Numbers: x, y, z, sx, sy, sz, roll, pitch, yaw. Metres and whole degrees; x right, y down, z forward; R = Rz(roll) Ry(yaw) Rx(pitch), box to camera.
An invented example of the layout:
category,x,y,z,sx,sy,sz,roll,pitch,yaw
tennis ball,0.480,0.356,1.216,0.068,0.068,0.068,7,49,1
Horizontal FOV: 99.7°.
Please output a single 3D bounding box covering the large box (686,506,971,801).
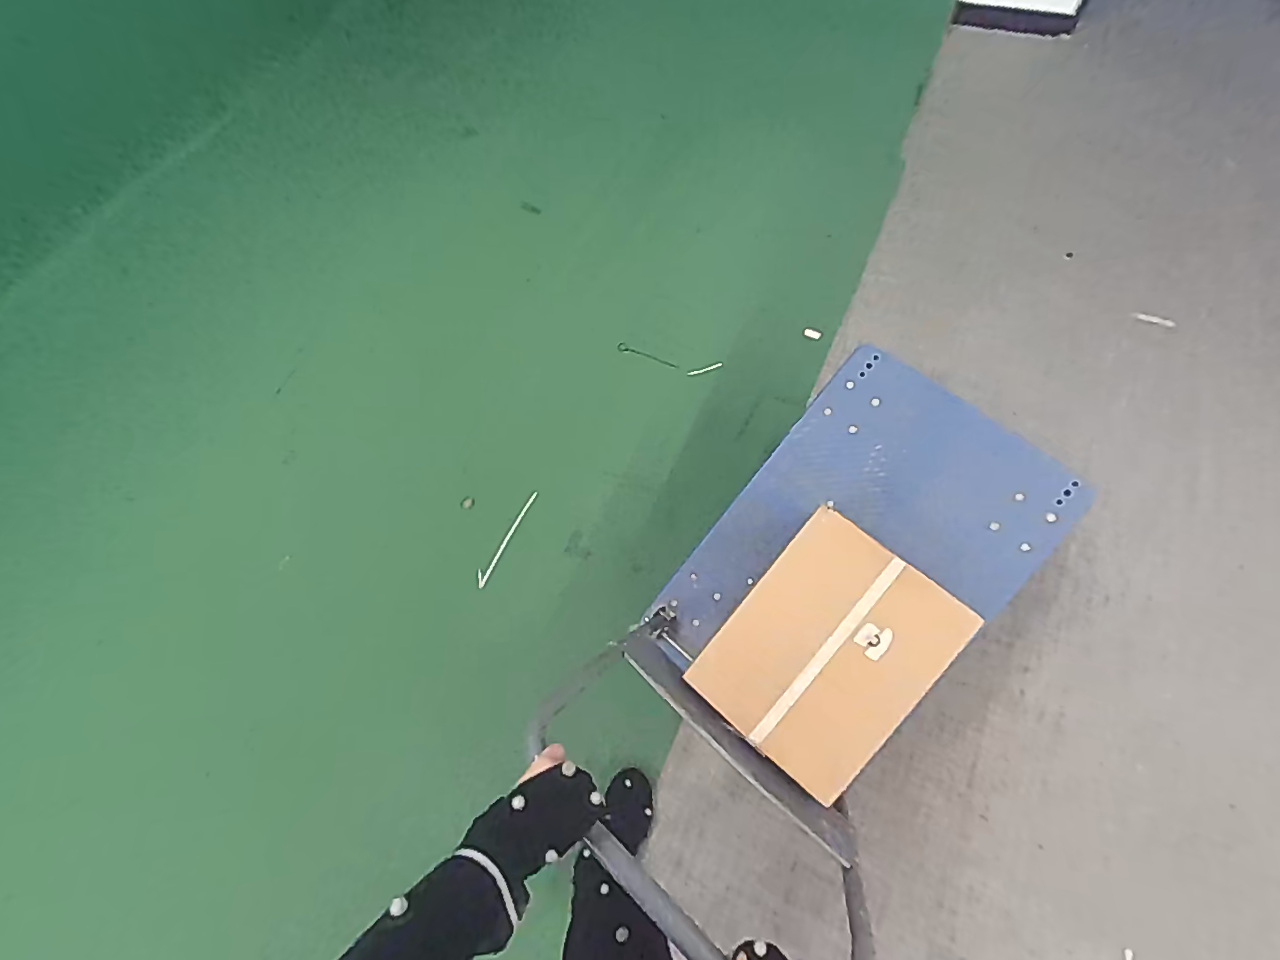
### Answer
category,x,y,z,sx,sy,sz,roll,pitch,yaw
large box,0.347,0.315,1.075,0.320,0.320,0.408,39,92,15
